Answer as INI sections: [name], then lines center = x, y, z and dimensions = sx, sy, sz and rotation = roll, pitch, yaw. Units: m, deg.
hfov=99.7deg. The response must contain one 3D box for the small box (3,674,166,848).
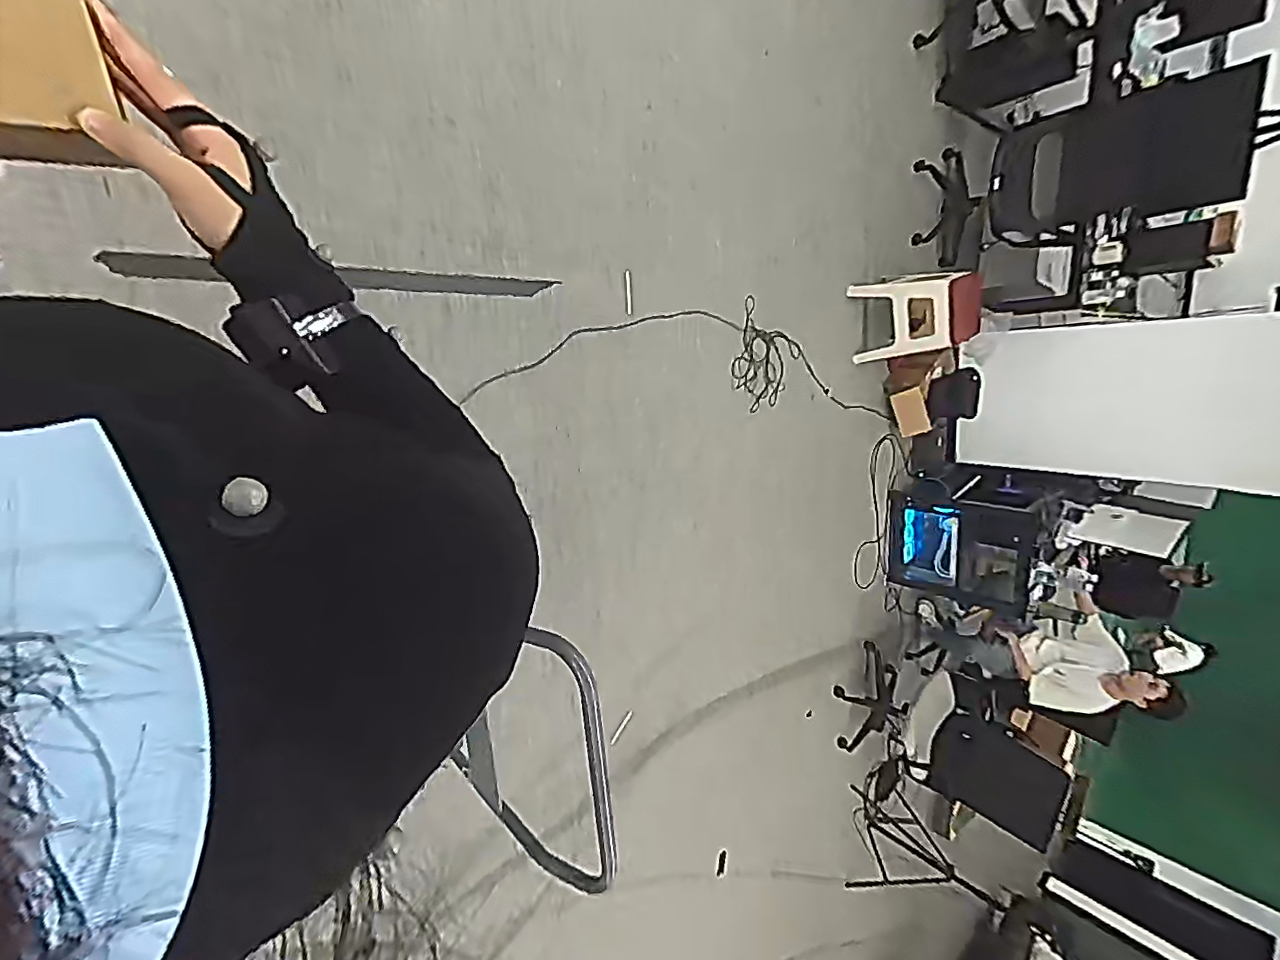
[small box]
center = -0.941, 0.469, 0.934
dimensions = 0.168, 0.176, 0.179
rotation = -10, 104, -39
